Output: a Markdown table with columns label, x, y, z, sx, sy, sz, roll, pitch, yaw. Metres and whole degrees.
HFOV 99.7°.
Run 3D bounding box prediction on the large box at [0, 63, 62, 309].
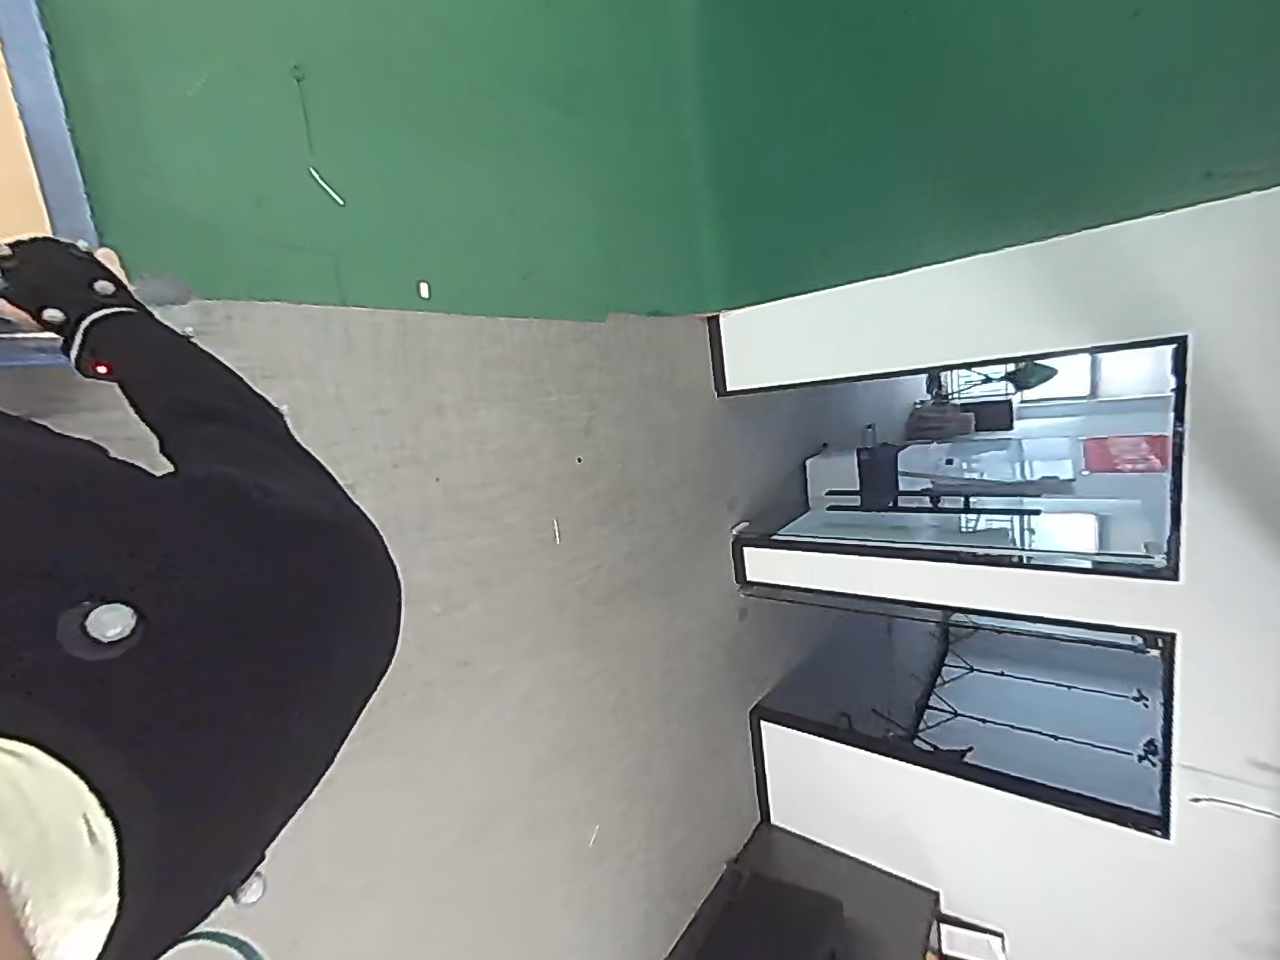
| label | x | y | z | sx | sy | sz | roll | pitch | yaw |
| --- | --- | --- | --- | --- | --- | --- | --- | --- | --- |
| large box | -1.127 | -0.481 | 0.778 | 0.320 | 0.320 | 0.408 | -19 | 103 | -51 |
